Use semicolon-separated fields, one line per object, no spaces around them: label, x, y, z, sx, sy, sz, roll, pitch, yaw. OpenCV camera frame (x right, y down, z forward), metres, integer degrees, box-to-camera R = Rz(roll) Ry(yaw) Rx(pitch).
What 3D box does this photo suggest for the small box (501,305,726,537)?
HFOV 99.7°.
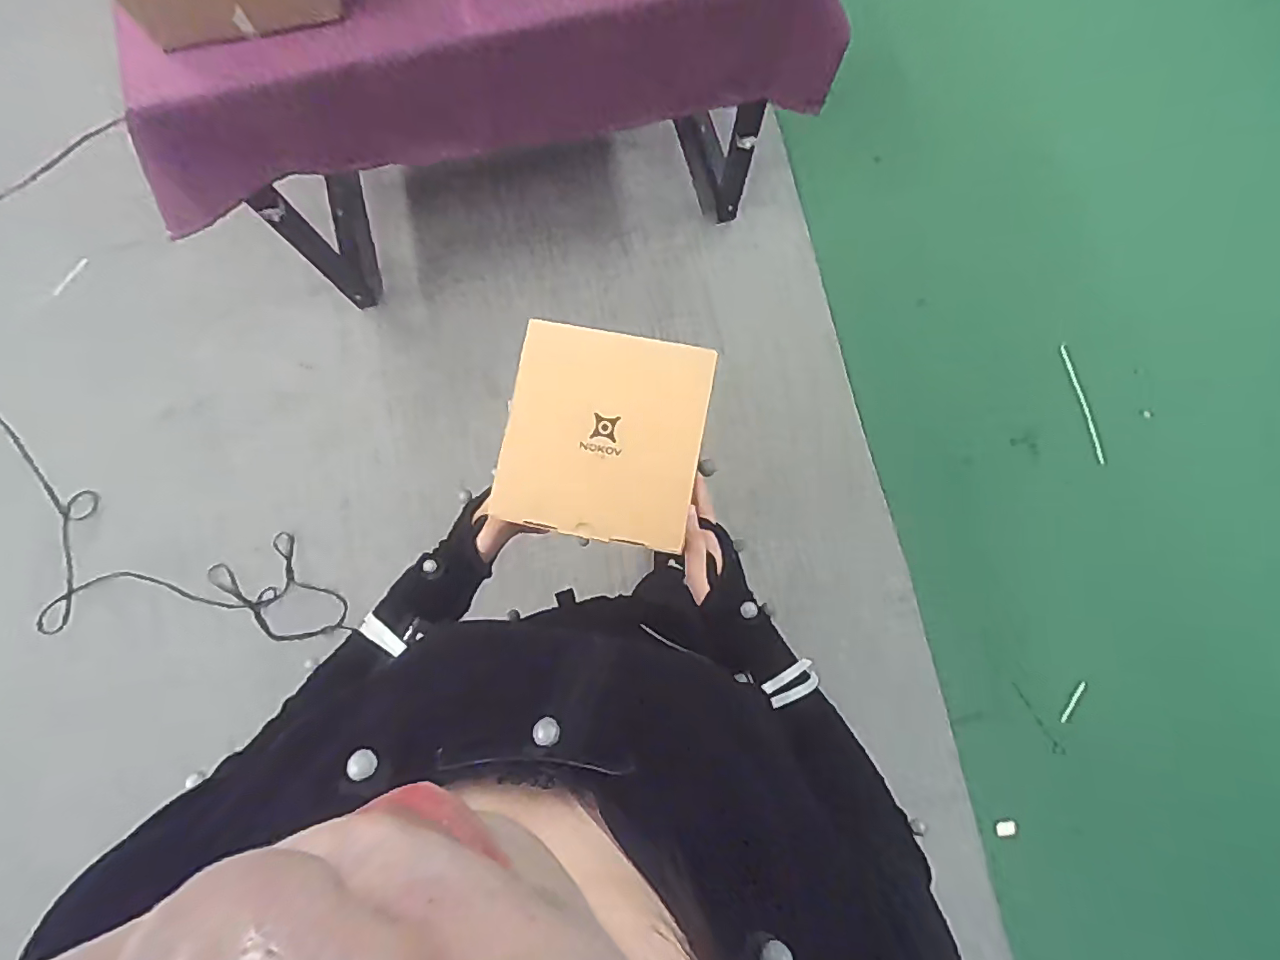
small box;-0.021;-0.045;0.536;0.168;0.176;0.179;11;85;2
